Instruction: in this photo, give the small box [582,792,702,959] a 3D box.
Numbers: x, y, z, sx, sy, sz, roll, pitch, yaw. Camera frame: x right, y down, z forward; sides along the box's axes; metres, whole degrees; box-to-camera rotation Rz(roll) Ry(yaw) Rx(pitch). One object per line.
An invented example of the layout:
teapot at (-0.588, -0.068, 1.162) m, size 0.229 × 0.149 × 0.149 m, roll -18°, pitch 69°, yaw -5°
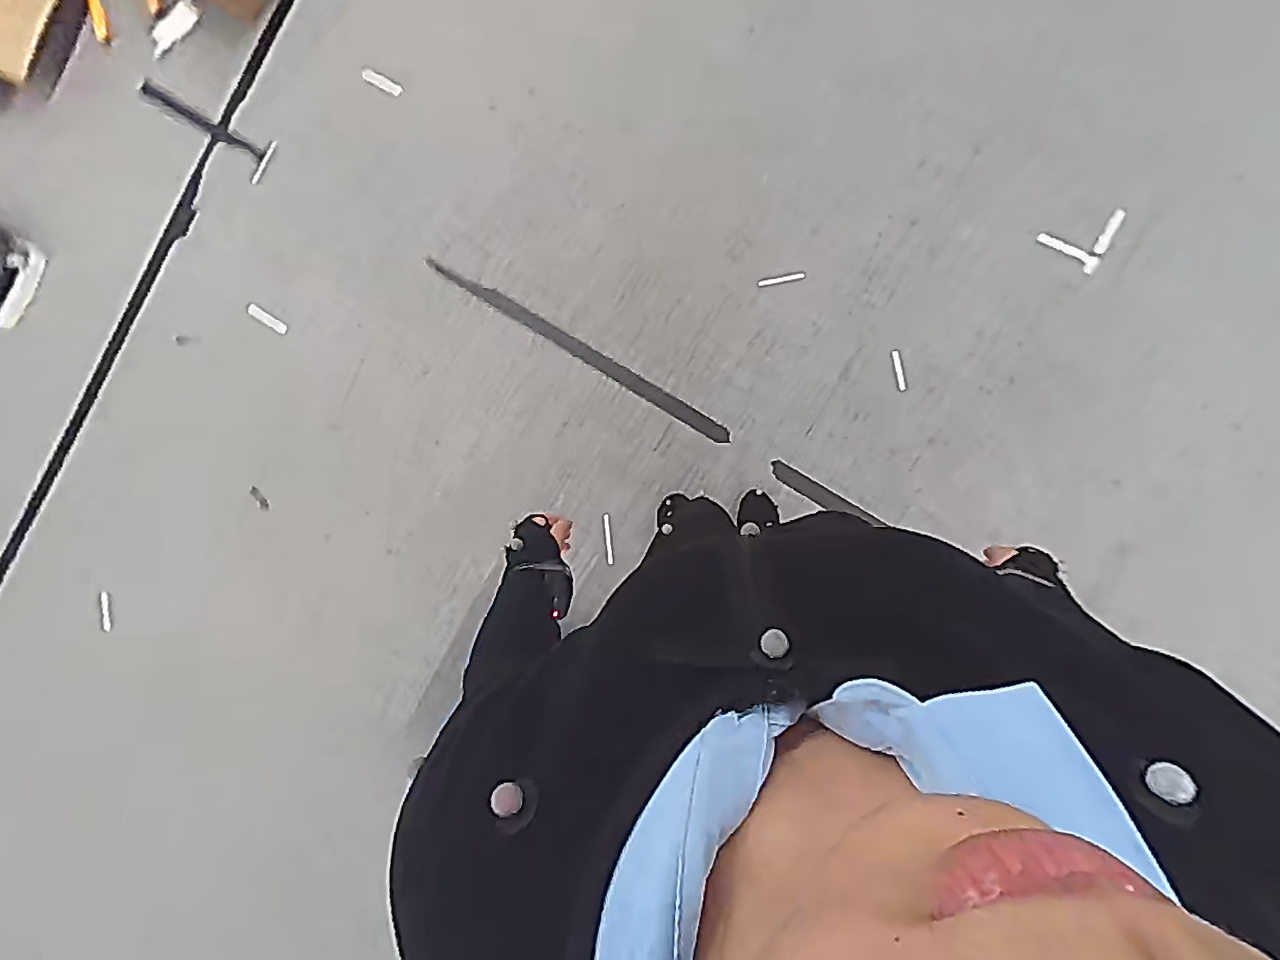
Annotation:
small box at (0.013, 0.772, 1.067) m, size 0.168 × 0.176 × 0.179 m, roll 31°, pitch 92°, yaw 7°
